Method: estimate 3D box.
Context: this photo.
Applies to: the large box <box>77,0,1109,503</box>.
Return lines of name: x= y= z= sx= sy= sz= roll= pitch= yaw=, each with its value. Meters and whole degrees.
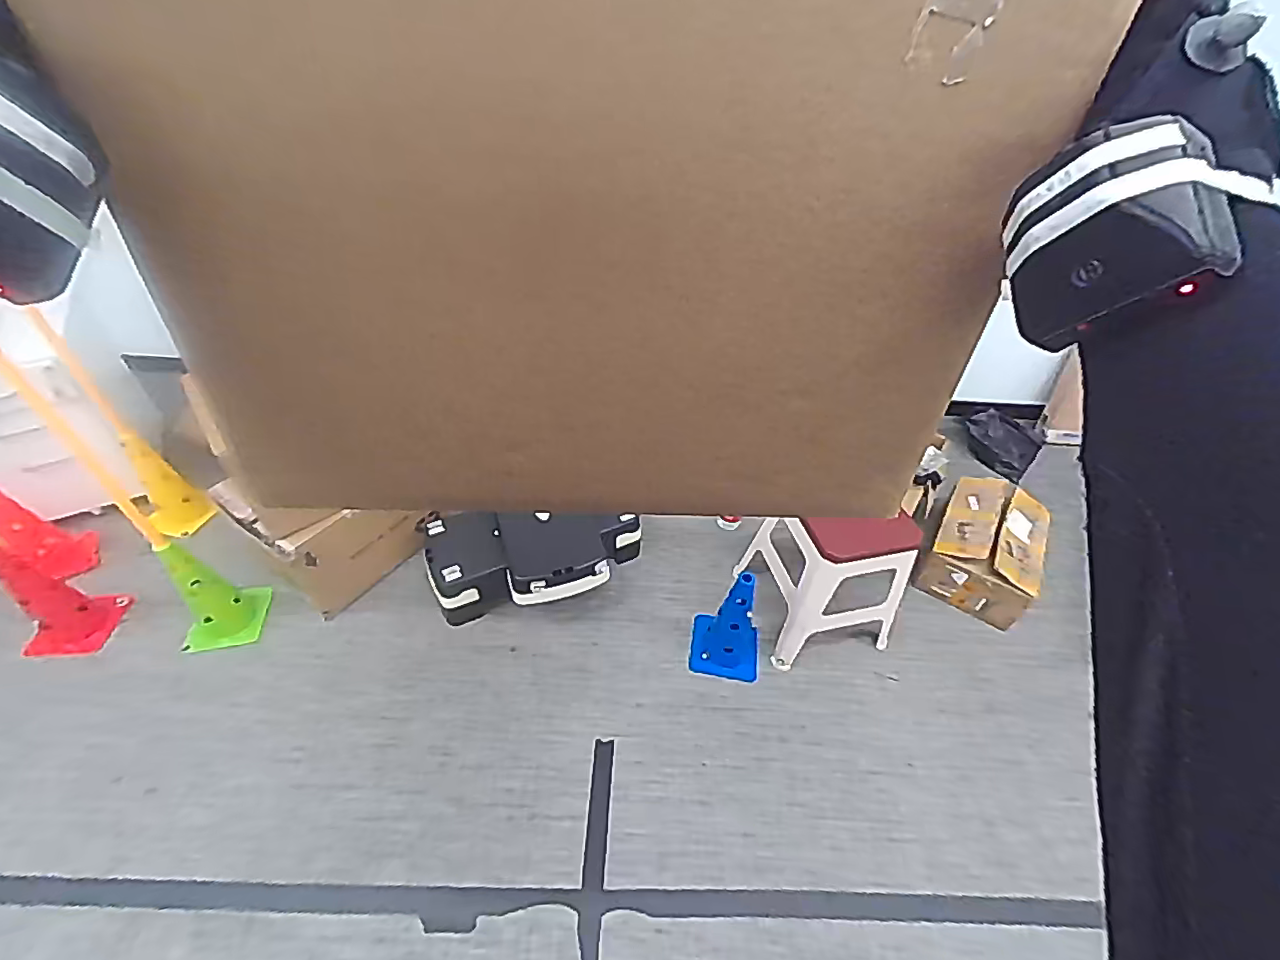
large box: x=-0.027 y=-0.195 z=0.380 sx=0.408 sy=0.320 sz=0.320 roll=2 pitch=38 yaw=-6
